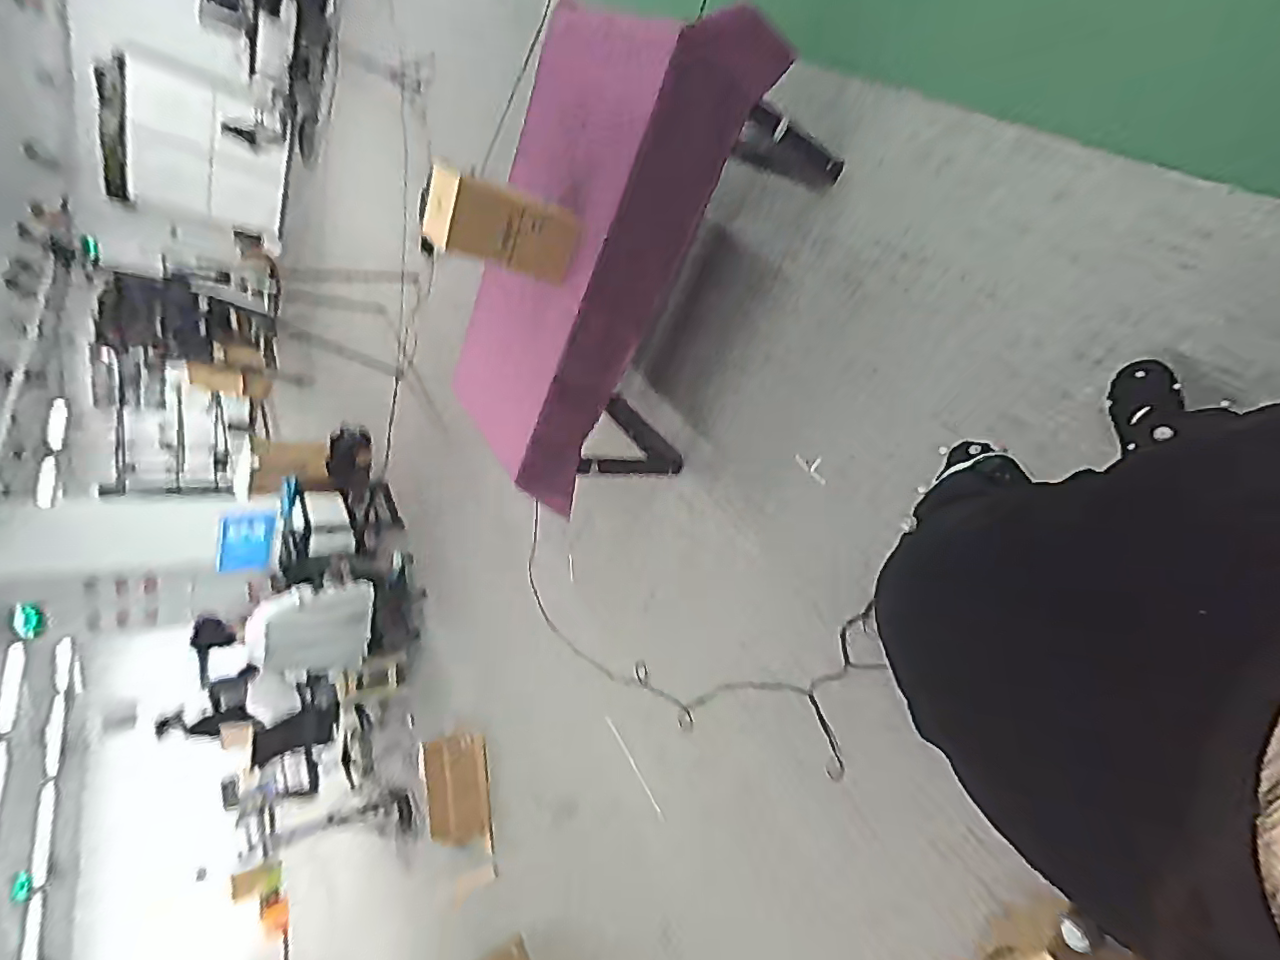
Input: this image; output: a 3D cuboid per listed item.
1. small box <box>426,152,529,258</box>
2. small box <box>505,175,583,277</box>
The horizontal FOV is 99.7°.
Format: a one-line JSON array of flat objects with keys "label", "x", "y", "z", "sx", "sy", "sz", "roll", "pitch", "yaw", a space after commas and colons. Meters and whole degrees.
[{"label": "small box", "x": -0.397, "y": -0.665, "z": 1.320, "sx": 0.179, "sy": 0.176, "sz": 0.168, "roll": 47, "pitch": 124, "yaw": 37}, {"label": "small box", "x": -0.273, "y": -0.664, "z": 1.426, "sx": 0.168, "sy": 0.176, "sz": 0.179, "roll": 49, "pitch": 125, "yaw": 37}]
